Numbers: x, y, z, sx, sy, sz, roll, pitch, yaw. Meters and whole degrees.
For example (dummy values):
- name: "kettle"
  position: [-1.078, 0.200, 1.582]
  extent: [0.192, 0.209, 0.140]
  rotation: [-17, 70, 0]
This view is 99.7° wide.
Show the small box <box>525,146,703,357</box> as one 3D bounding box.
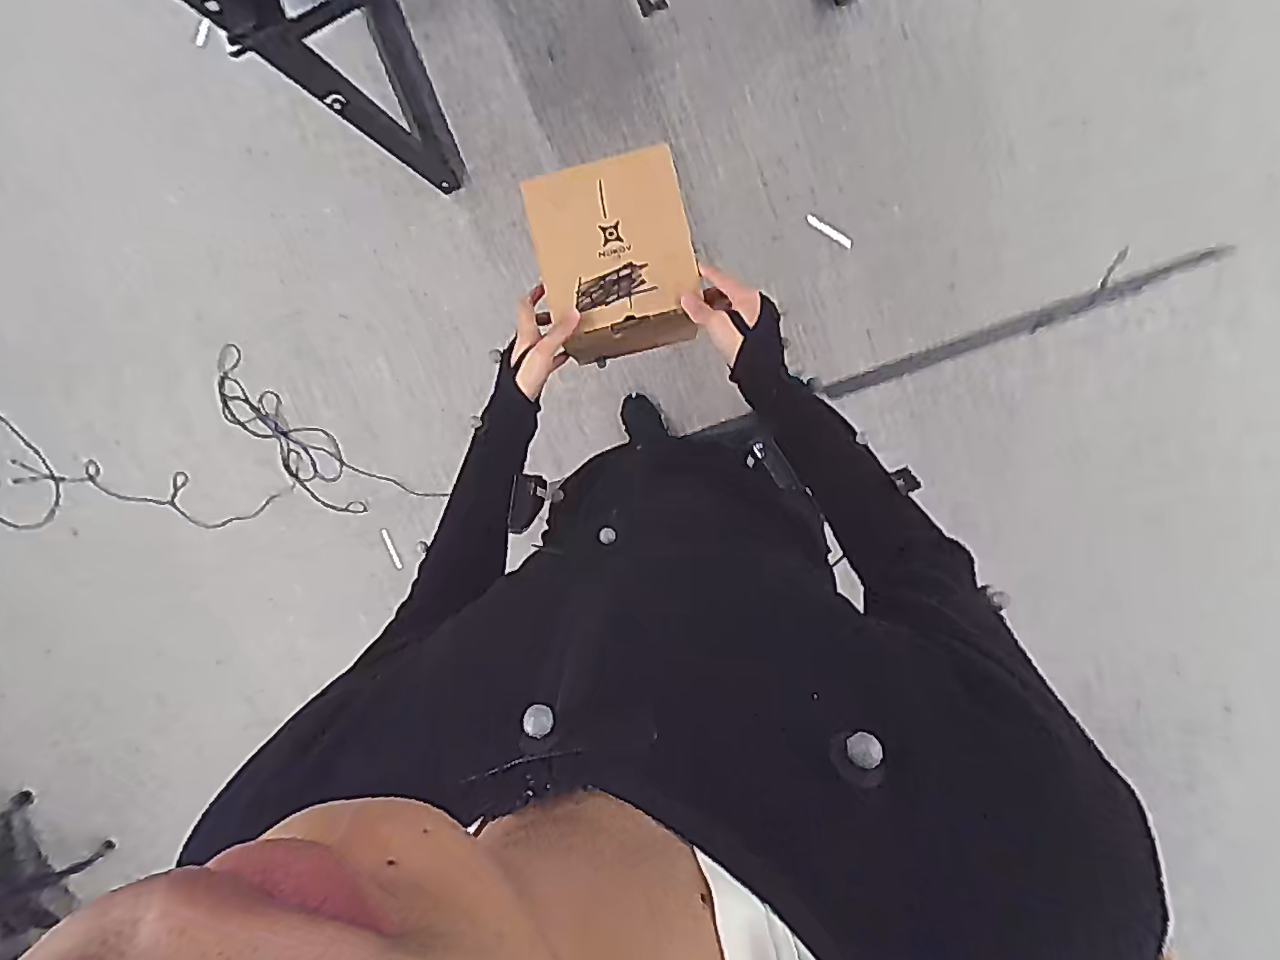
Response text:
- name: "small box"
  position: [-0.023, -0.256, 0.657]
  extent: [0.168, 0.176, 0.179]
  rotation: [-13, 92, 3]
